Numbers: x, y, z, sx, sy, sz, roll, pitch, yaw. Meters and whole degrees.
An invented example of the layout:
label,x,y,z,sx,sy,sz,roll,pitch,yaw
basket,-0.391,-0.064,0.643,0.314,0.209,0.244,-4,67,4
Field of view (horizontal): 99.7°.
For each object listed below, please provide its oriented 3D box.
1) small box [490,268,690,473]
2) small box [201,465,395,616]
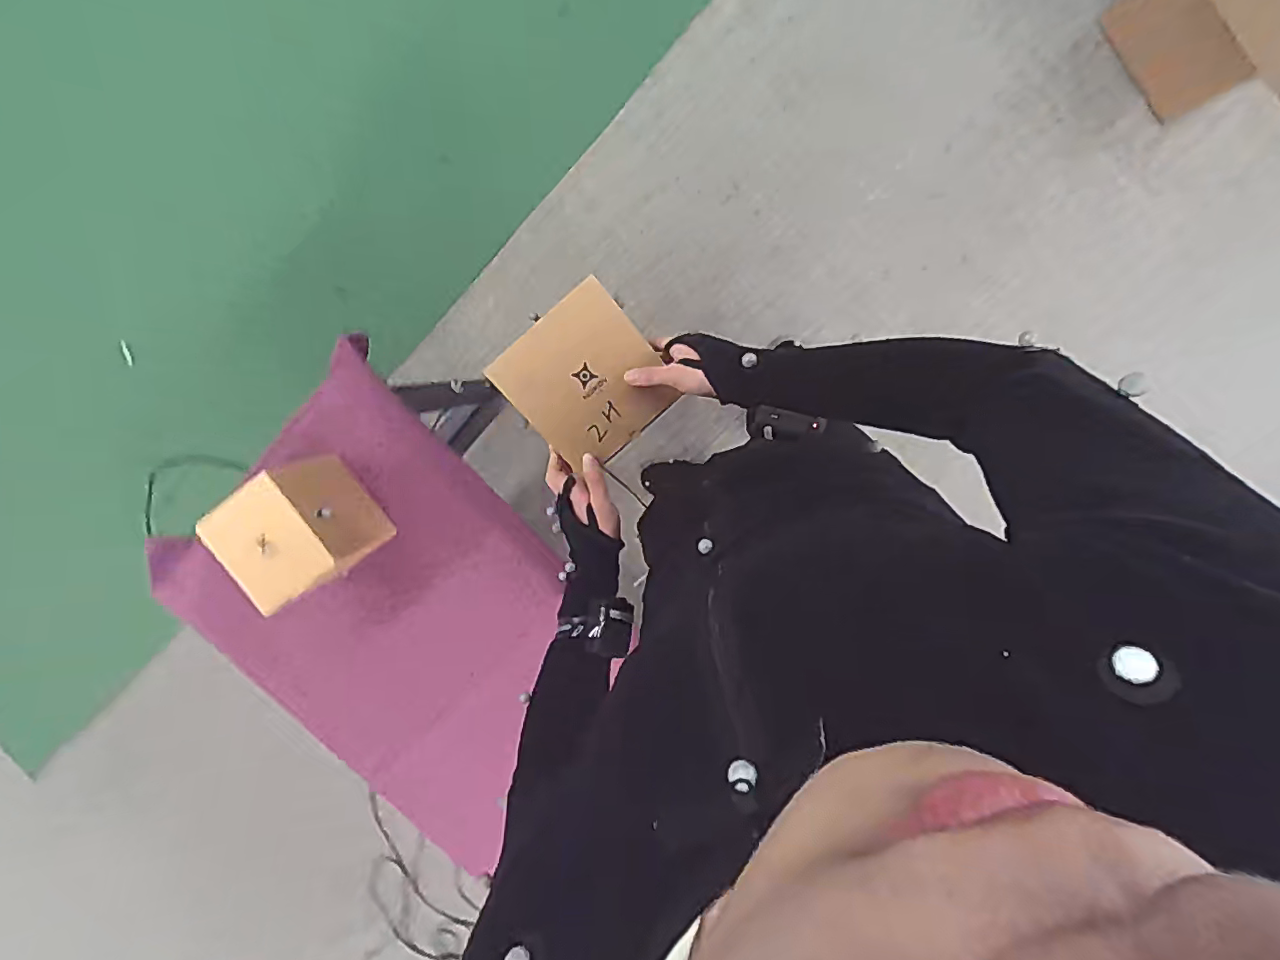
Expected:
label,x,y,z,sx,sy,sz,roll,pitch,yaw
small box,-0.068,-0.138,0.691,0.168,0.176,0.179,-40,109,1
small box,-0.559,0.088,0.907,0.168,0.176,0.179,-34,97,13
